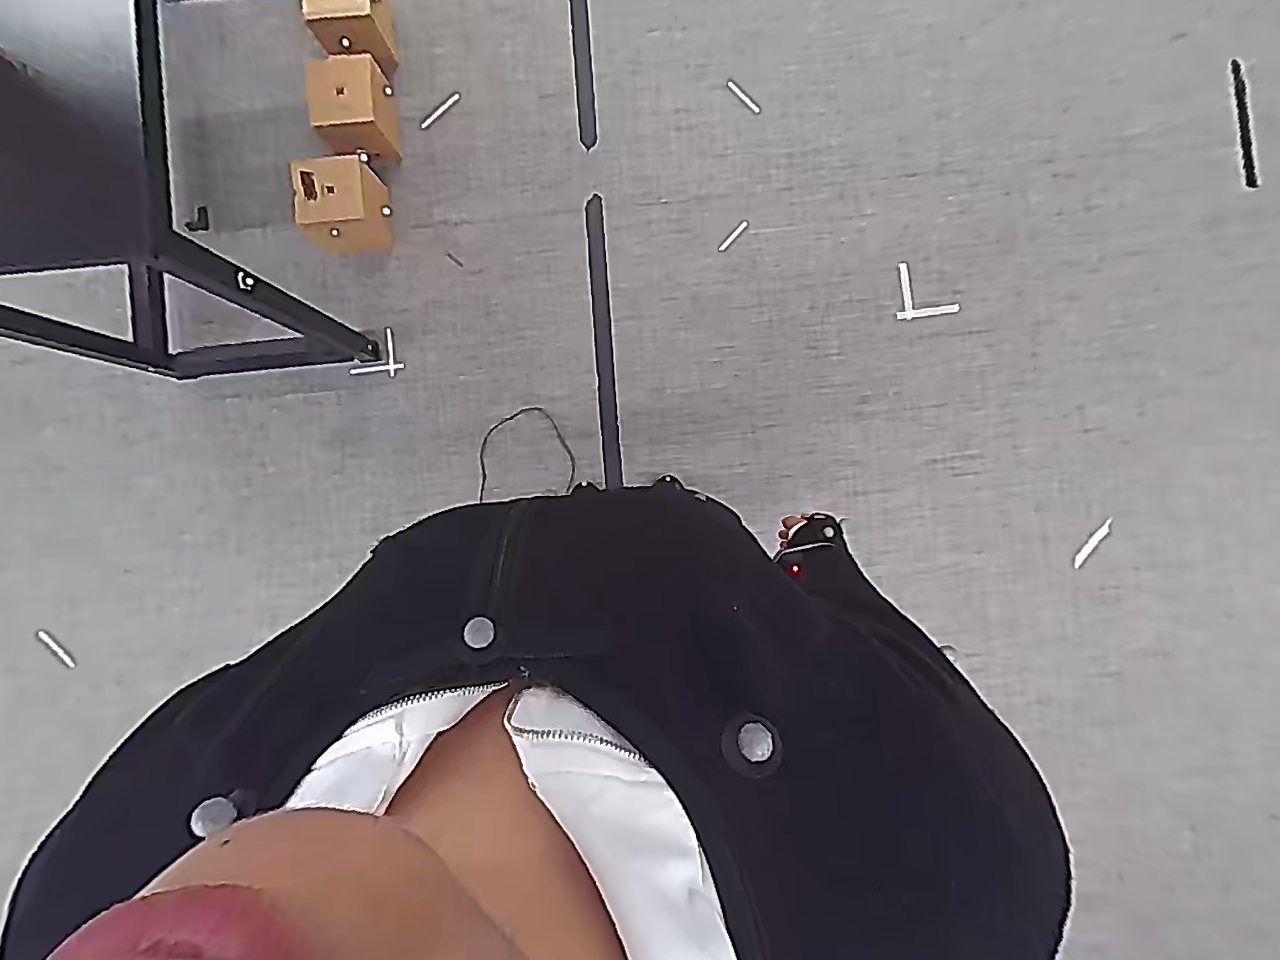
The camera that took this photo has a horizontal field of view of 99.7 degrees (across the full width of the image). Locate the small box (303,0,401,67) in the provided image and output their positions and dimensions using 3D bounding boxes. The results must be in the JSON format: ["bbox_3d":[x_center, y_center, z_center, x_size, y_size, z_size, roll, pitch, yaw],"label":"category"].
[{"bbox_3d":[-0.774,-1.251,1.457,0.179,0.176,0.168,-6,90,1],"label":"small box"}]

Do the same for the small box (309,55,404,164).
[{"bbox_3d":[-0.756,-0.989,1.455,0.168,0.176,0.179,-6,89,1],"label":"small box"}]

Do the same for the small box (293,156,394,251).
[{"bbox_3d":[-0.788,-0.732,1.449,0.179,0.176,0.168,-6,89,0],"label":"small box"}]
